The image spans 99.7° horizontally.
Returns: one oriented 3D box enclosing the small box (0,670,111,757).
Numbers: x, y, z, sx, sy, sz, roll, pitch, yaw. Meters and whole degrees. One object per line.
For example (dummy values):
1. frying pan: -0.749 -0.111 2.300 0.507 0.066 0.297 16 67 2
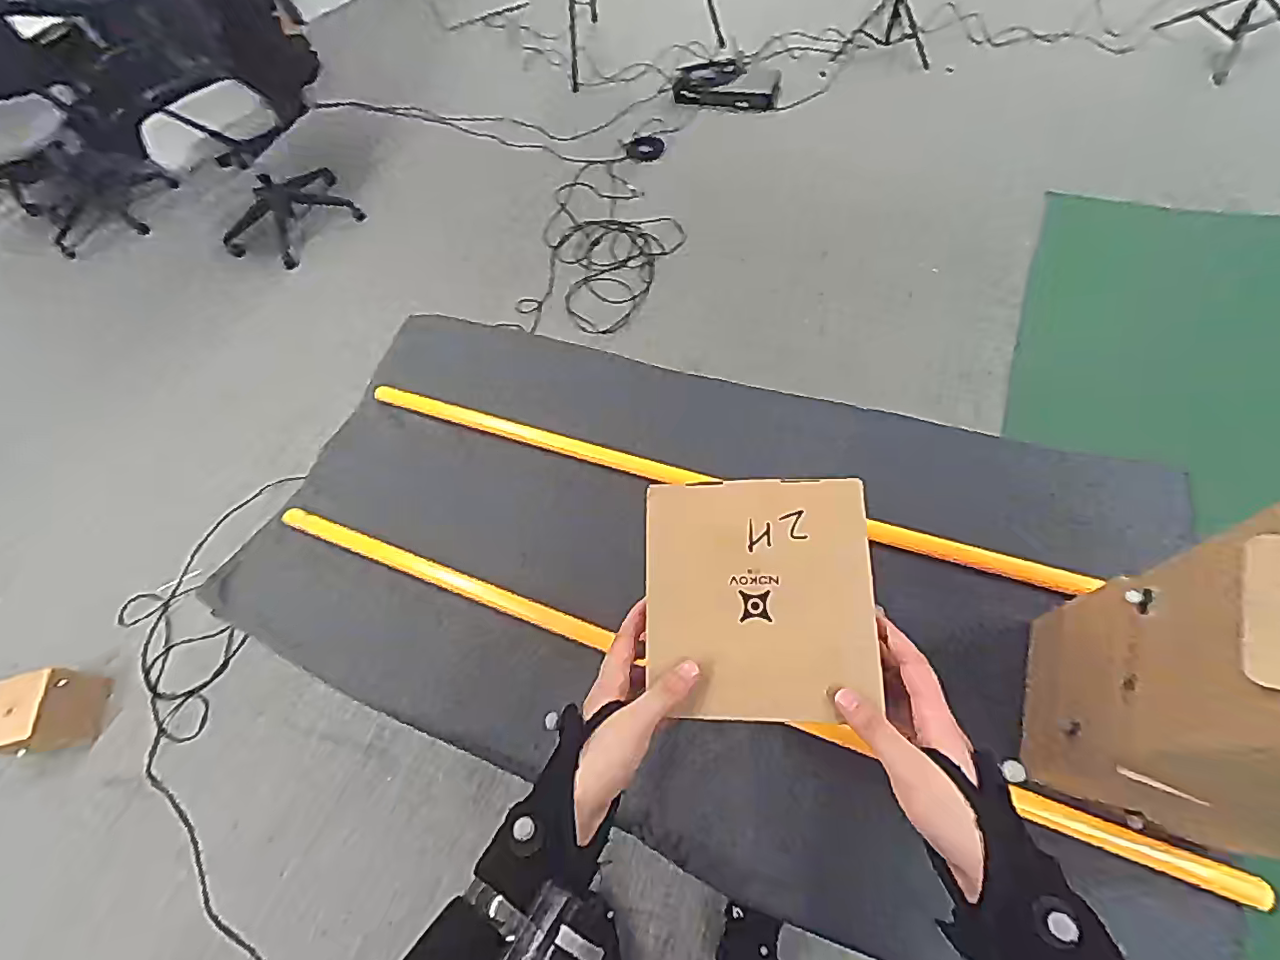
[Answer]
1. small box: -1.582 0.628 1.442 0.168 0.176 0.179 -15 59 0
